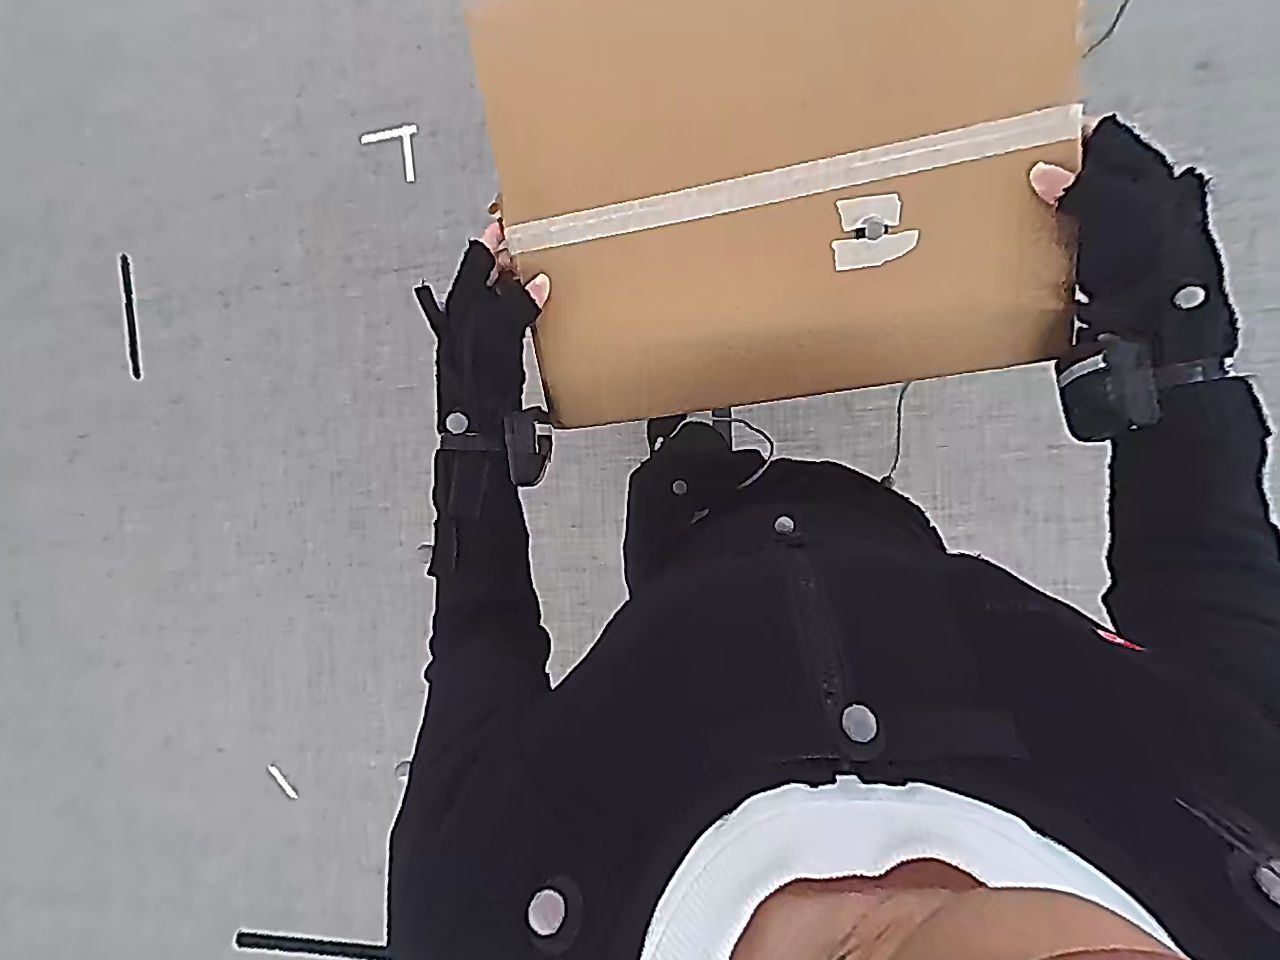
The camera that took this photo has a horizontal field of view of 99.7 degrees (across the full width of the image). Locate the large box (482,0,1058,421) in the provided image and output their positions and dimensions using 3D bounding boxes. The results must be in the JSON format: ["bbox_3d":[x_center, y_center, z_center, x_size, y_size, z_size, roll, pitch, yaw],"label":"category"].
[{"bbox_3d":[0.114,-0.264,0.555,0.408,0.320,0.320,-7,105,9],"label":"large box"}]
